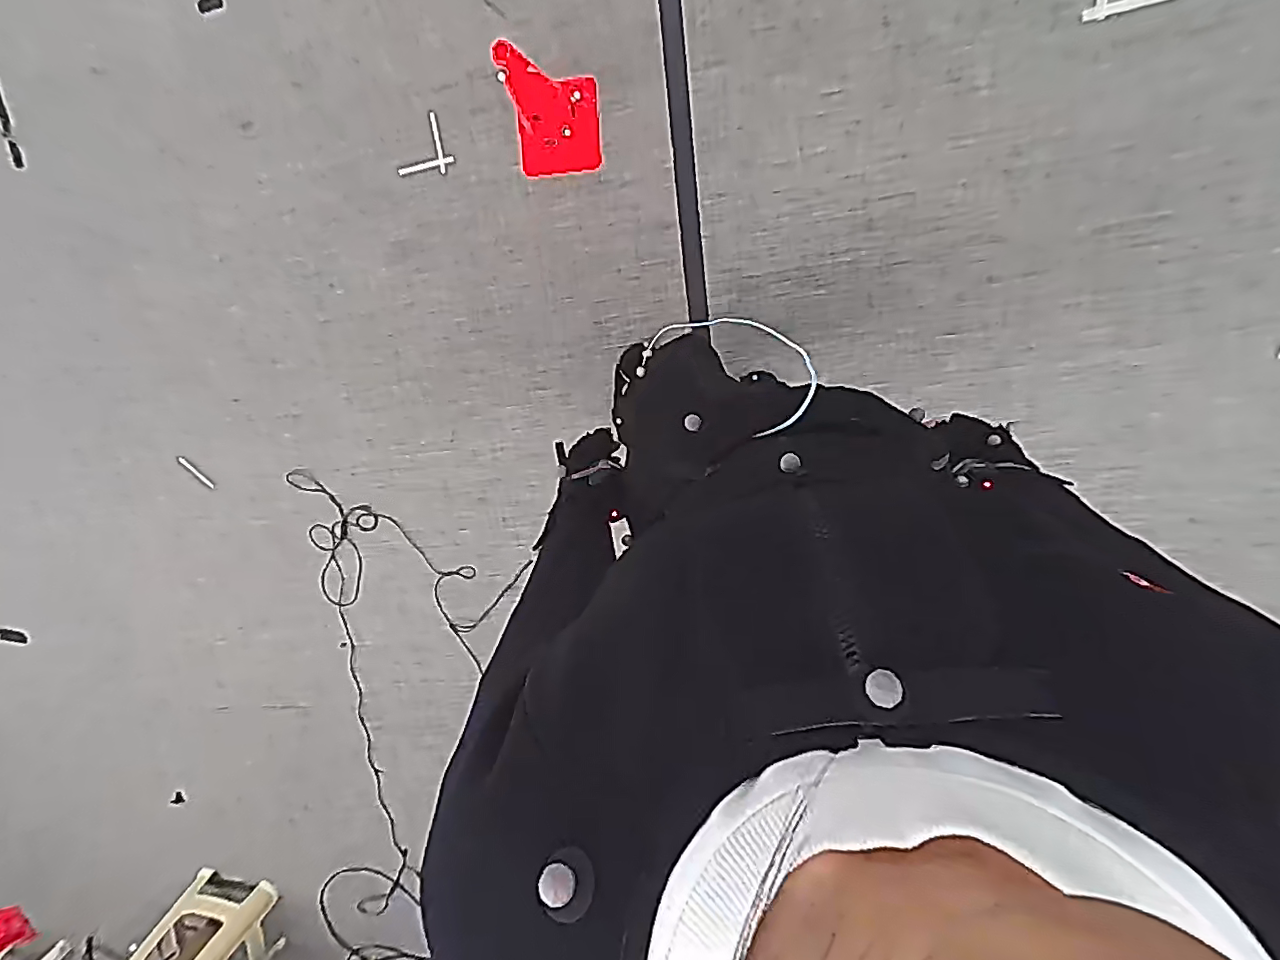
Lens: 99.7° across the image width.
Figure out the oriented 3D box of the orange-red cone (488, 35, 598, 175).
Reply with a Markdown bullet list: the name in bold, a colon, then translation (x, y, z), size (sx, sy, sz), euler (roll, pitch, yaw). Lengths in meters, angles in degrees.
- **orange-red cone**: translation (-0.226, -0.799, 1.118), size (0.199, 0.360, 0.198), euler (0, 103, 10)
